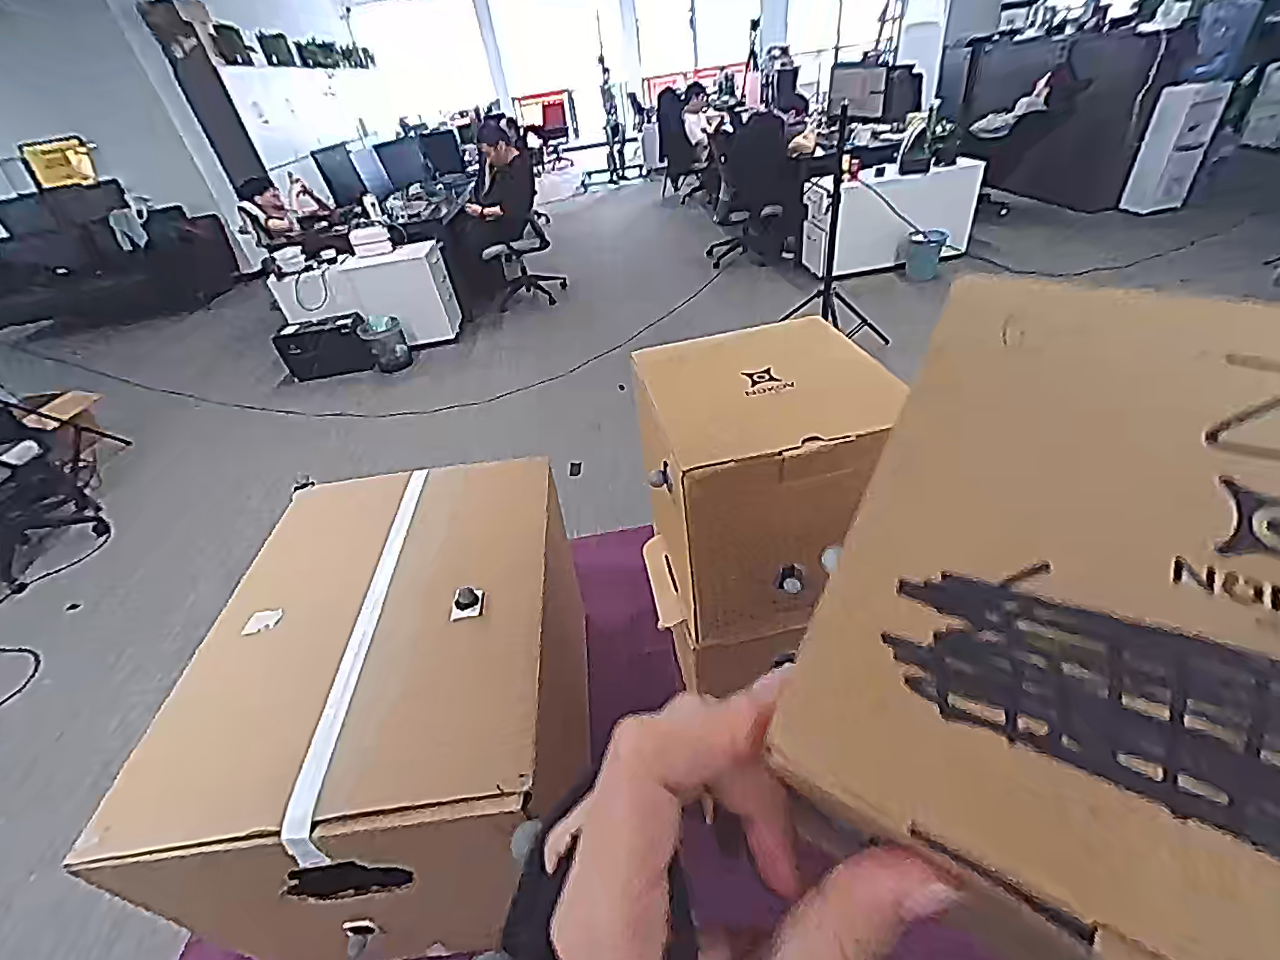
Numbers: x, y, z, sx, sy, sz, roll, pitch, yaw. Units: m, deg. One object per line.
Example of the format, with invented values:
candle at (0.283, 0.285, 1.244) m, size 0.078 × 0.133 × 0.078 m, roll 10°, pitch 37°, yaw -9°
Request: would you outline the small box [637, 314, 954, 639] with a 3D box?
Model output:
small box at (0.098, -0.008, 0.423) m, size 0.168 × 0.176 × 0.179 m, roll -12°, pitch 38°, yaw -5°
